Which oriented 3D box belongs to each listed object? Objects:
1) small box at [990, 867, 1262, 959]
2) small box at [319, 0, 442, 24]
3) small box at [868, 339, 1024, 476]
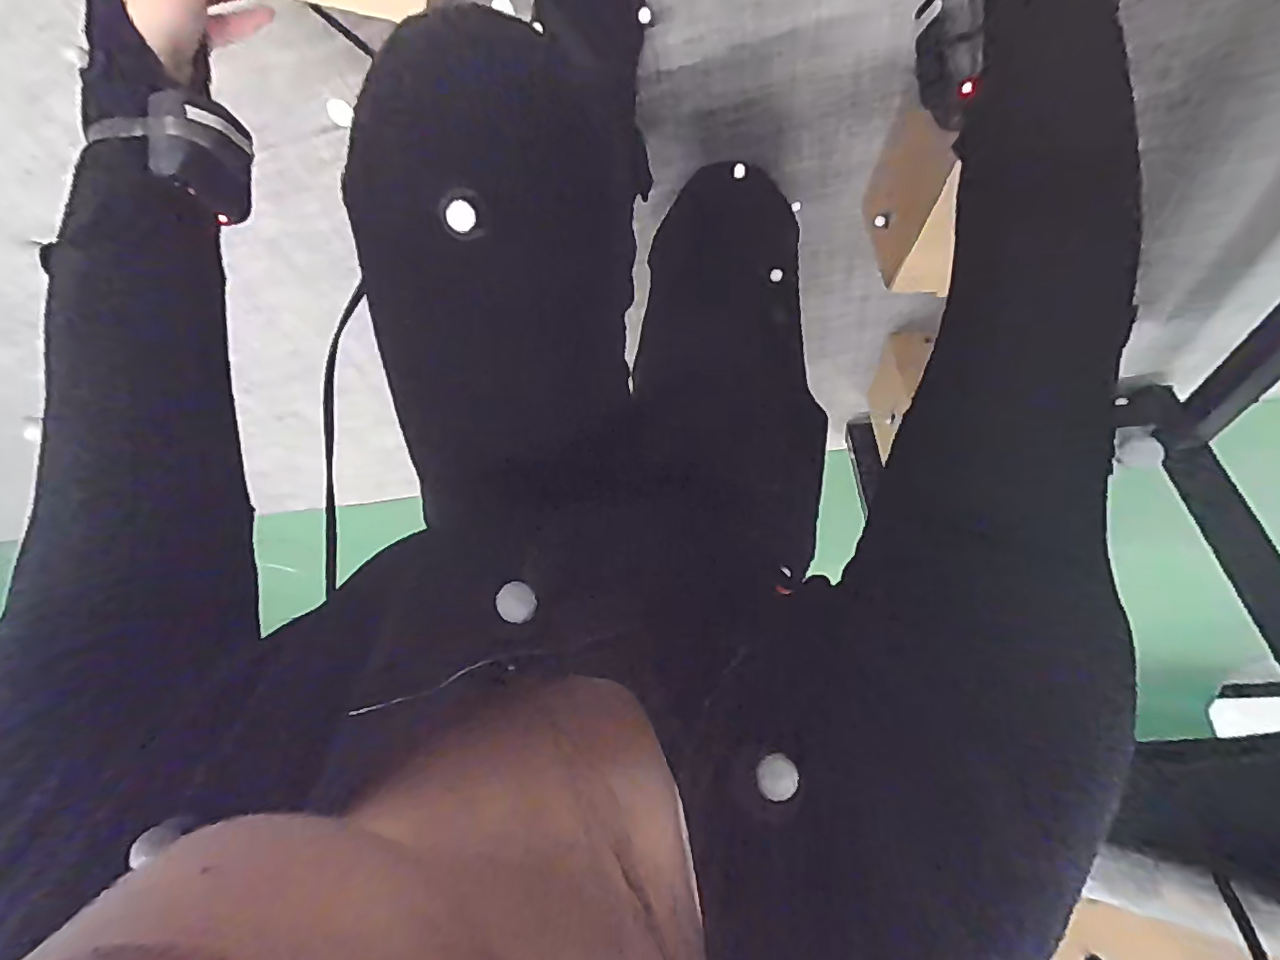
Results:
[{"bbox_3d":[0.492,0.491,0.534,0.179,0.176,0.168,20,141,-28],"label":"small box"},{"bbox_3d":[-0.230,-0.476,0.384,0.179,0.176,0.168,6,147,-9],"label":"small box"},{"bbox_3d":[0.506,-0.126,0.928,0.168,0.176,0.179,-3,149,7],"label":"small box"}]
